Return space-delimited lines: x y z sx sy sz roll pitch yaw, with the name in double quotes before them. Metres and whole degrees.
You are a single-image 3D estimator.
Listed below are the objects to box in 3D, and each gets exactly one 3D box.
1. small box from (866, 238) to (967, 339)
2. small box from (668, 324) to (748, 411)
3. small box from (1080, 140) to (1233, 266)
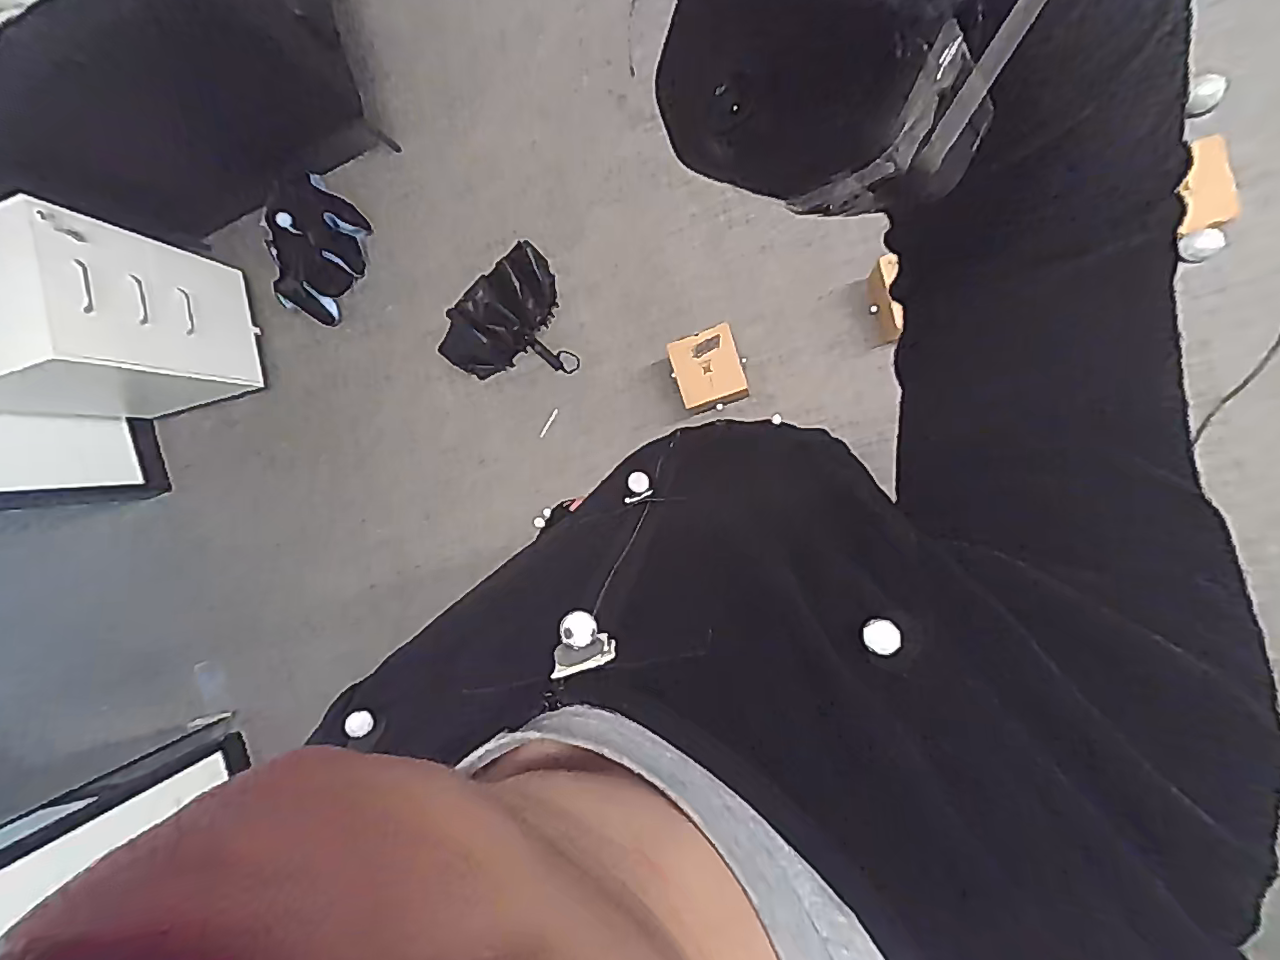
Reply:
"small box" 0.668 -0.455 1.323 0.168 0.176 0.179 -14 90 15
"small box" 0.186 -0.293 1.451 0.168 0.176 0.179 -17 90 15
"small box" 1.131 -0.597 1.199 0.168 0.176 0.179 -15 88 14
